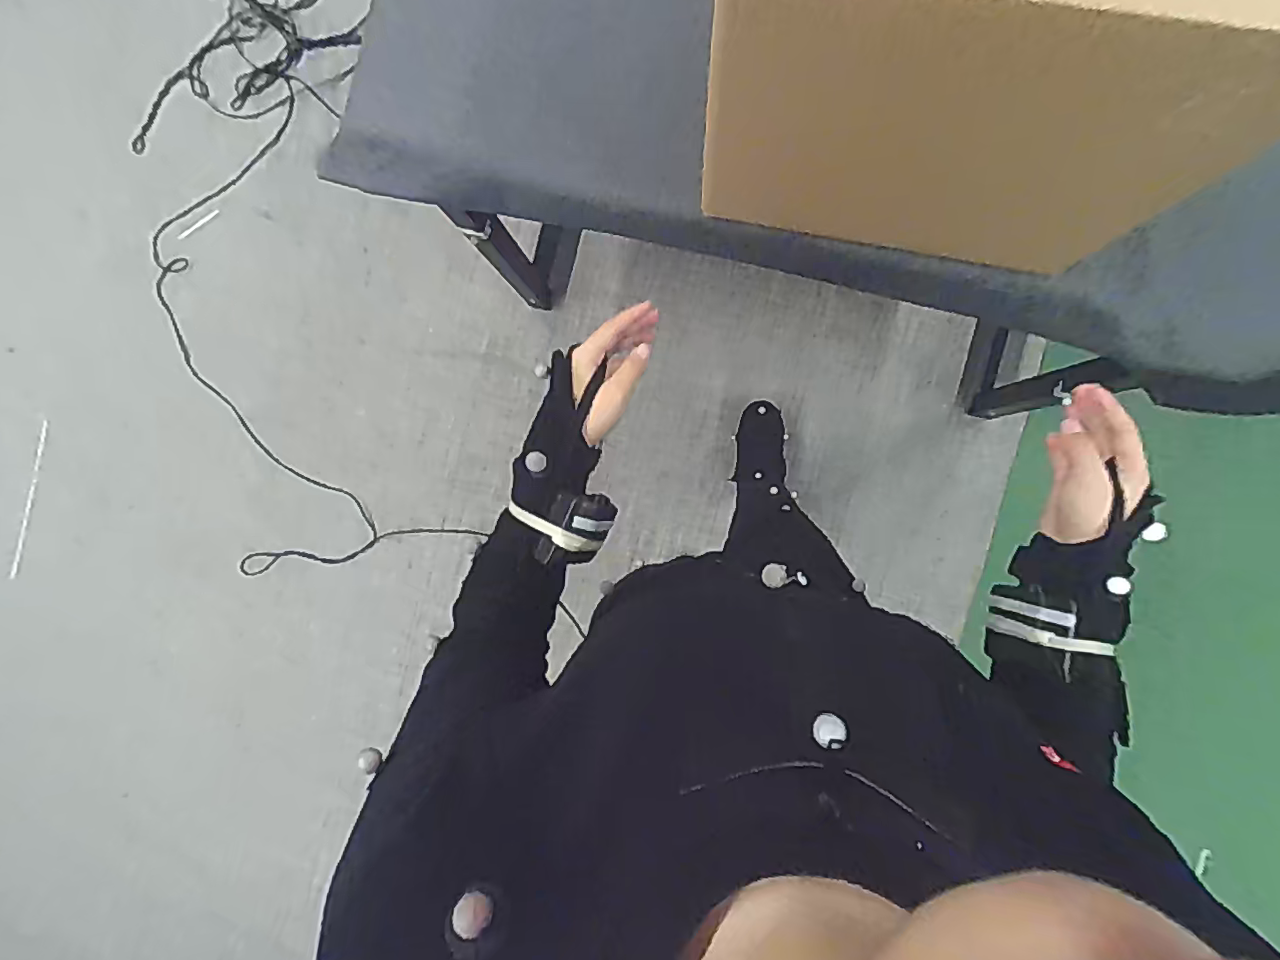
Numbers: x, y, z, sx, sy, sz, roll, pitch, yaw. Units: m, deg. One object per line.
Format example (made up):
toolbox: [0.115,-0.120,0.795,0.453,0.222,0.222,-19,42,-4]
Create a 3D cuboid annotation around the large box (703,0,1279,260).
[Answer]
large box: [0.284,-0.432,0.477,0.408,0.320,0.320,11,90,3]
